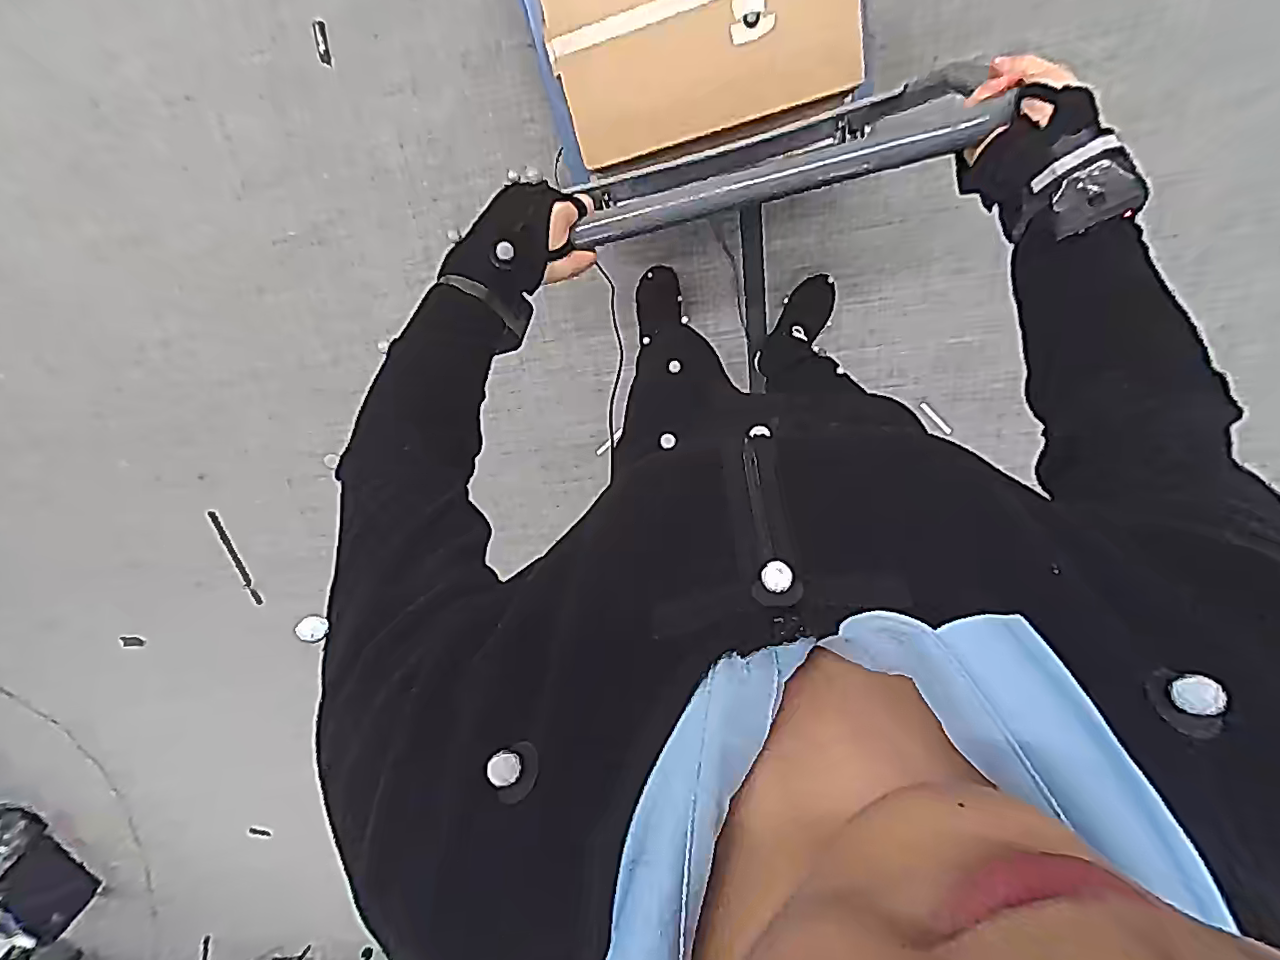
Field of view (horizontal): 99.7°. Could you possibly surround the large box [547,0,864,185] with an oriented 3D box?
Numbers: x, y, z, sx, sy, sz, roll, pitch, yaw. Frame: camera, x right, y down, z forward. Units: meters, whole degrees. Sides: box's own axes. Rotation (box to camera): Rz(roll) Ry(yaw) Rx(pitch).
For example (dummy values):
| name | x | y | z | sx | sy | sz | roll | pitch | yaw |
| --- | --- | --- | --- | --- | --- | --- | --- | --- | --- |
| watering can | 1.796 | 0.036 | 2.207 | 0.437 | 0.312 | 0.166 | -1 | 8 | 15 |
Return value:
| name | x | y | z | sx | sy | sz | roll | pitch | yaw |
| --- | --- | --- | --- | --- | --- | --- | --- | --- | --- |
| large box | 0.095 | -0.699 | 0.856 | 0.408 | 0.320 | 0.320 | -11 | 115 | 12 |
